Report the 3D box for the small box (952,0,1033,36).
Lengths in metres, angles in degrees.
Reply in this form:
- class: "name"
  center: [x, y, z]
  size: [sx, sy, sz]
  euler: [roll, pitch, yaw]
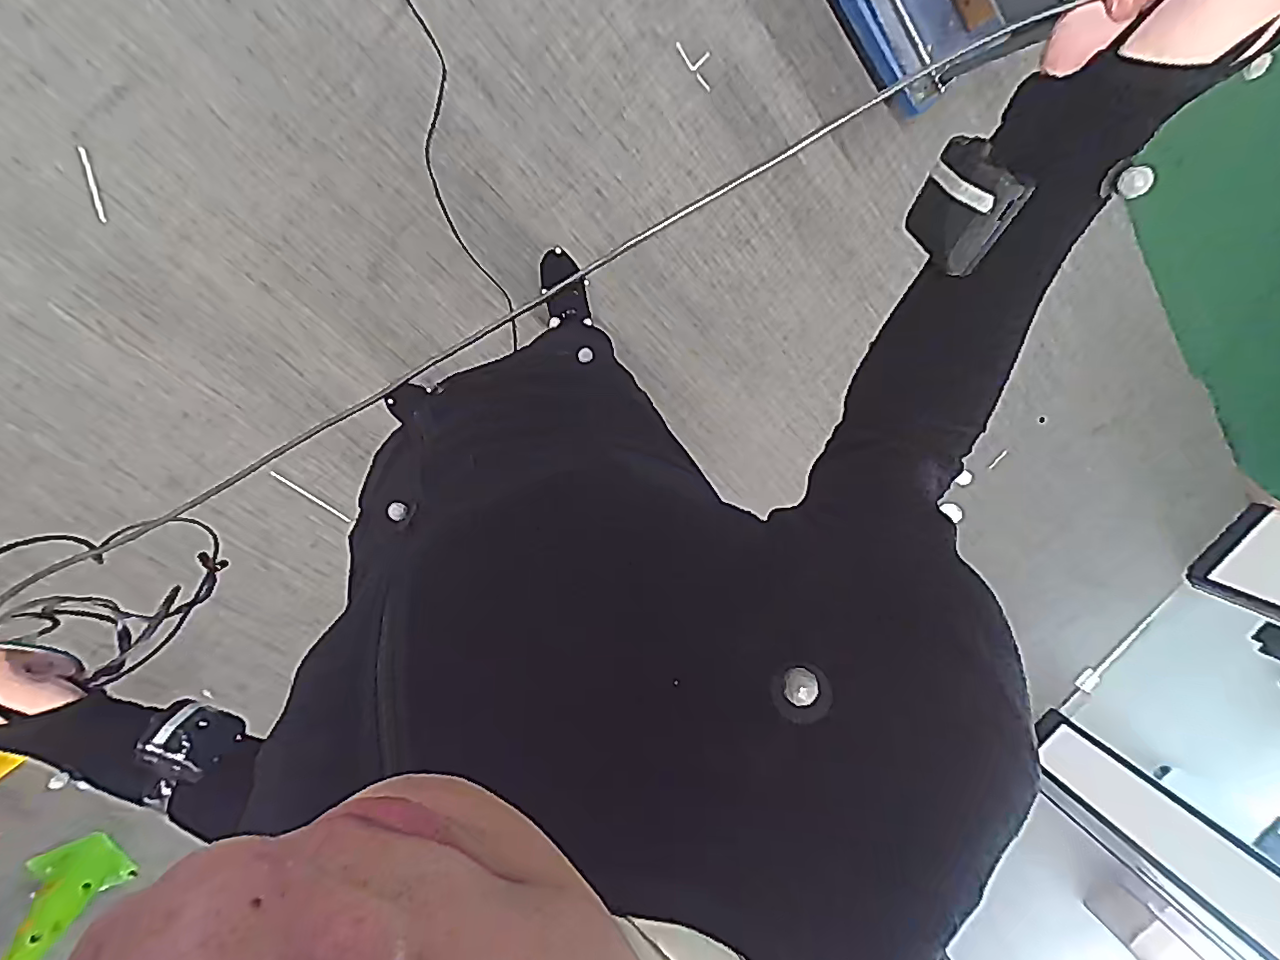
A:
- class: "small box"
  center: [0.874, -1.224, 1.283]
  size: [0.179, 0.176, 0.168]
  euler: [-45, 113, 2]
